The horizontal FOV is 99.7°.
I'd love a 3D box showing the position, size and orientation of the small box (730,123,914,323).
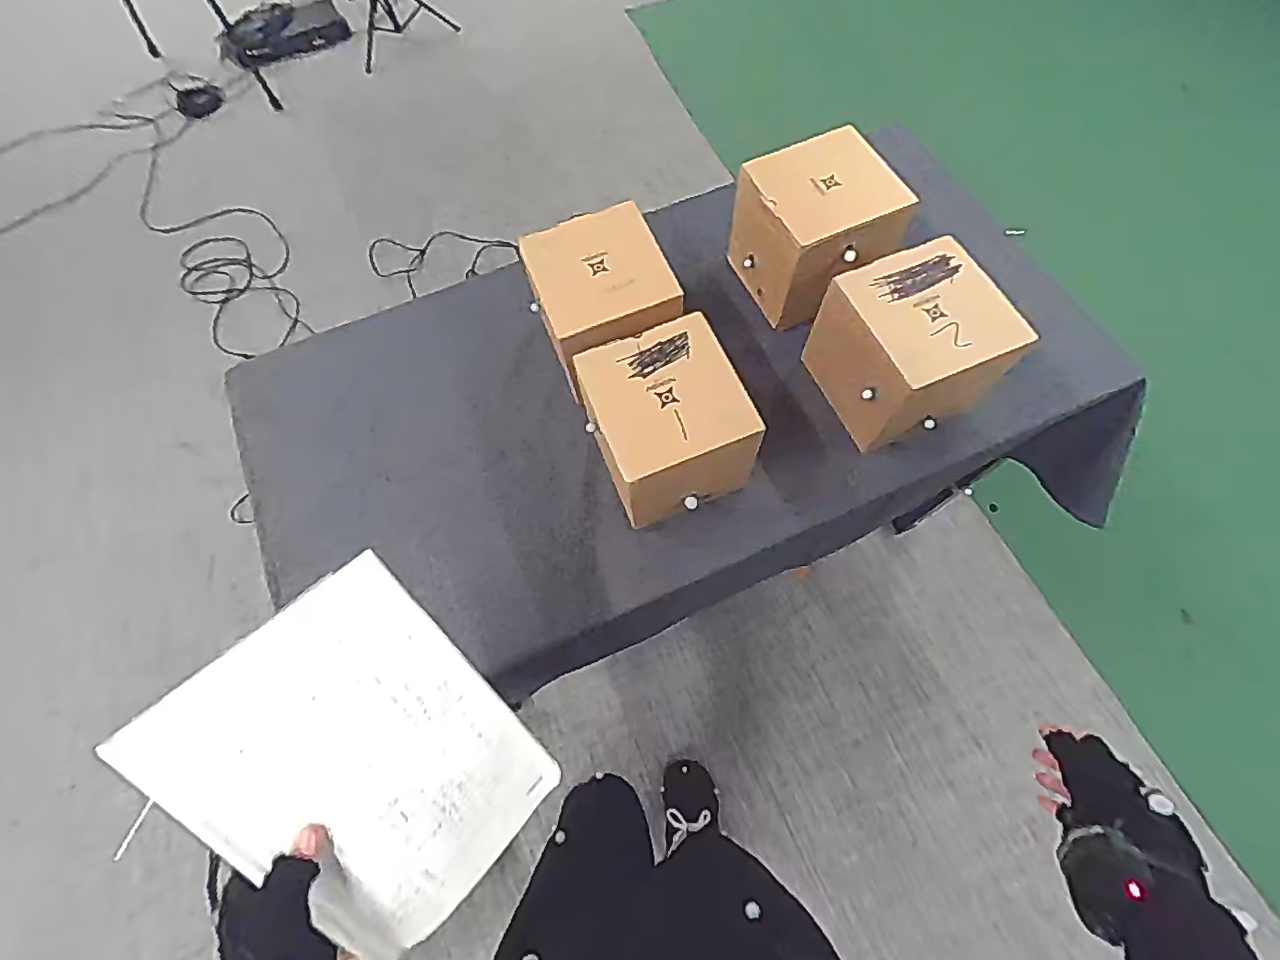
[{"bbox_3d":[0.247,-0.365,0.788,0.179,0.176,0.168,-24,69,-6],"label":"small box"}]
